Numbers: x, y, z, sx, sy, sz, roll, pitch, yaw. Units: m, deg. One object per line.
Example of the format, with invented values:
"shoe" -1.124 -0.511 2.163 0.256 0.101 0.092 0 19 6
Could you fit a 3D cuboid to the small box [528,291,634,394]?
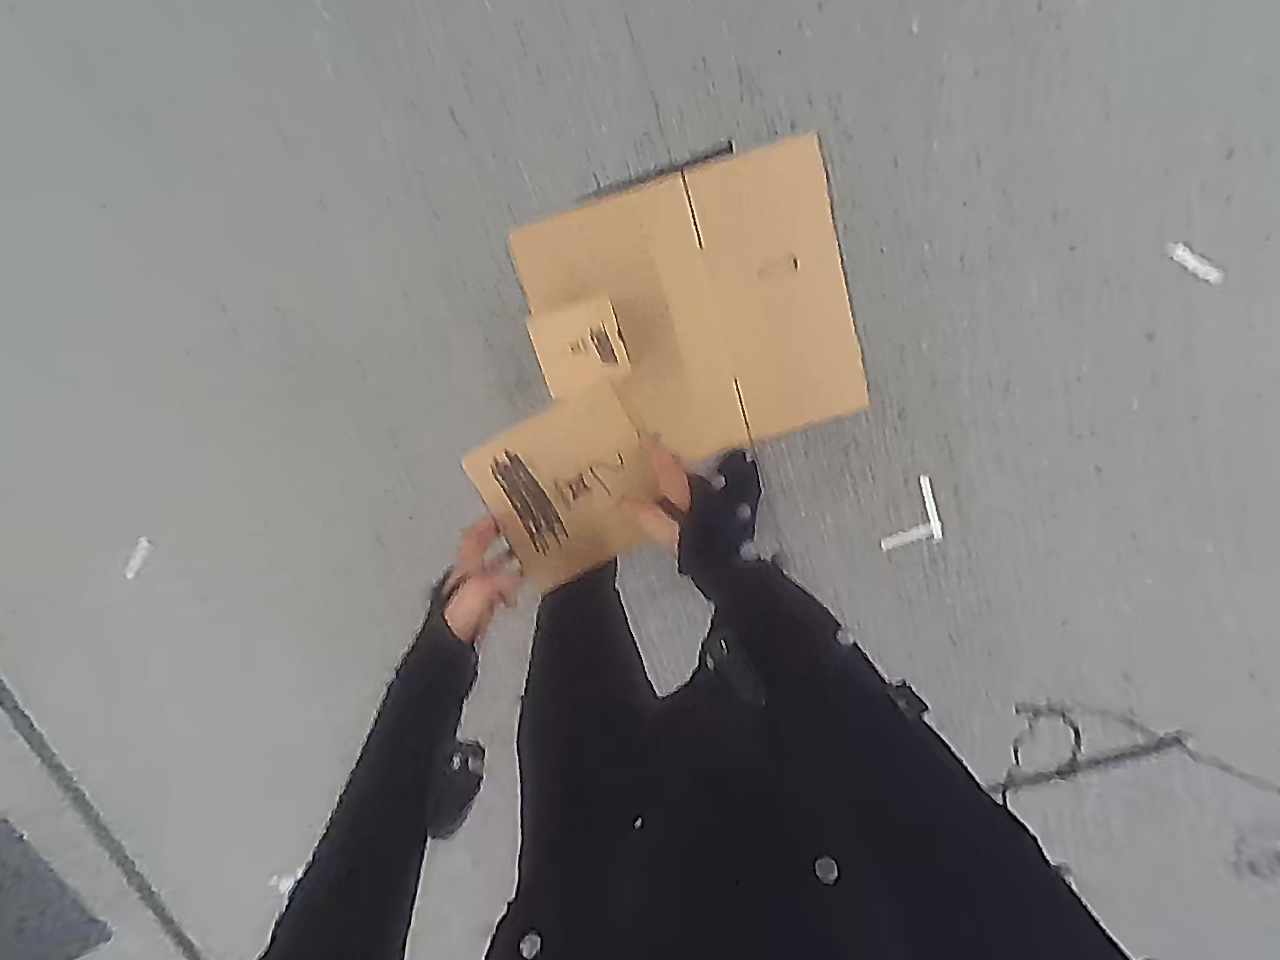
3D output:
"small box" -0.118 -0.293 1.147 0.179 0.176 0.168 -16 105 4
